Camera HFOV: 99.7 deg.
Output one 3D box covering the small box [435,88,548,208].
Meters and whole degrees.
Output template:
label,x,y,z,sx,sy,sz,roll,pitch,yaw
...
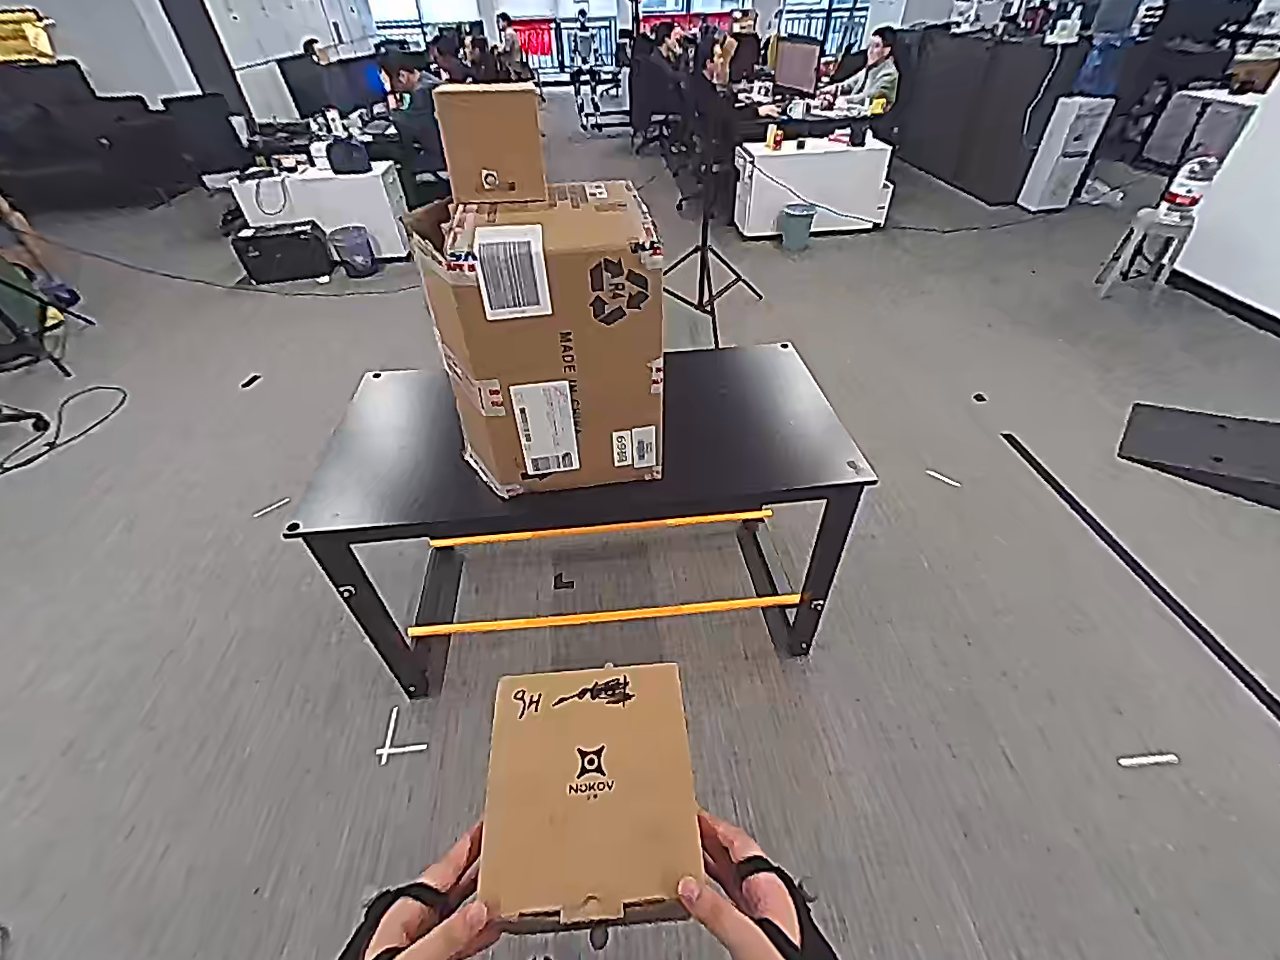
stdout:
label,x,y,z,sx,sy,sz,roll,pitch,yaw
small box,-0.261,-0.606,0.985,0.168,0.176,0.179,-8,40,-8
